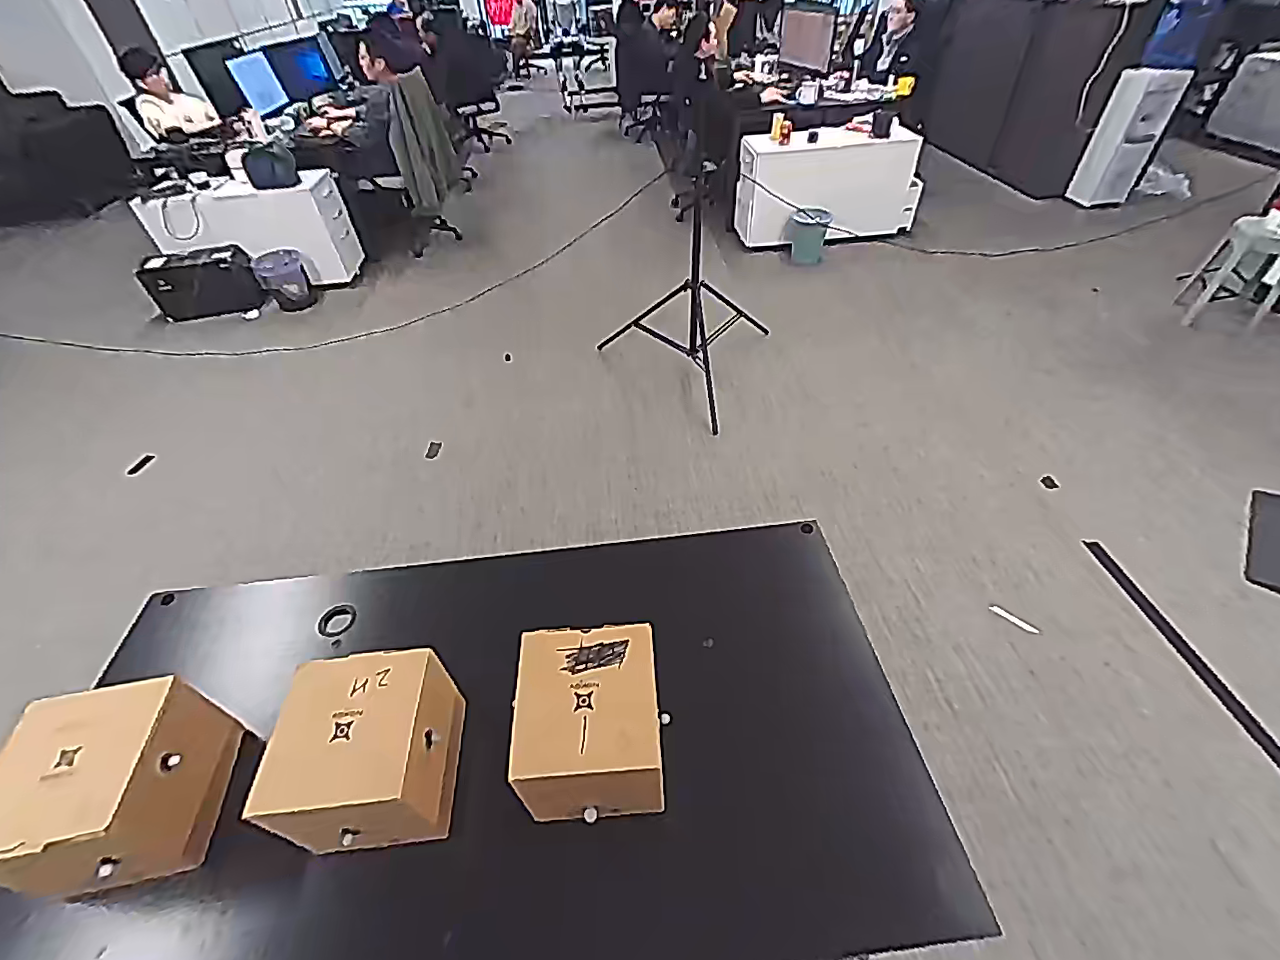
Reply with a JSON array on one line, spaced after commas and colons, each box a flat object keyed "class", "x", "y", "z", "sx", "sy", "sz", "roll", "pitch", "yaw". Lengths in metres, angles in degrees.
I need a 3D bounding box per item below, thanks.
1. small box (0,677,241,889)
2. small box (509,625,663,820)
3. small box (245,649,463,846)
[{"class": "small box", "x": -0.638, "y": 0.374, "z": 0.663, "sx": 0.168, "sy": 0.176, "sz": 0.179, "roll": -9, "pitch": 44, "yaw": -7}, {"class": "small box", "x": -0.059, "y": 0.308, "z": 0.689, "sx": 0.168, "sy": 0.176, "sz": 0.179, "roll": -5, "pitch": 45, "yaw": 0}, {"class": "small box", "x": -0.333, "y": 0.338, "z": 0.676, "sx": 0.168, "sy": 0.176, "sz": 0.179, "roll": -5, "pitch": 44, "yaw": -2}]
